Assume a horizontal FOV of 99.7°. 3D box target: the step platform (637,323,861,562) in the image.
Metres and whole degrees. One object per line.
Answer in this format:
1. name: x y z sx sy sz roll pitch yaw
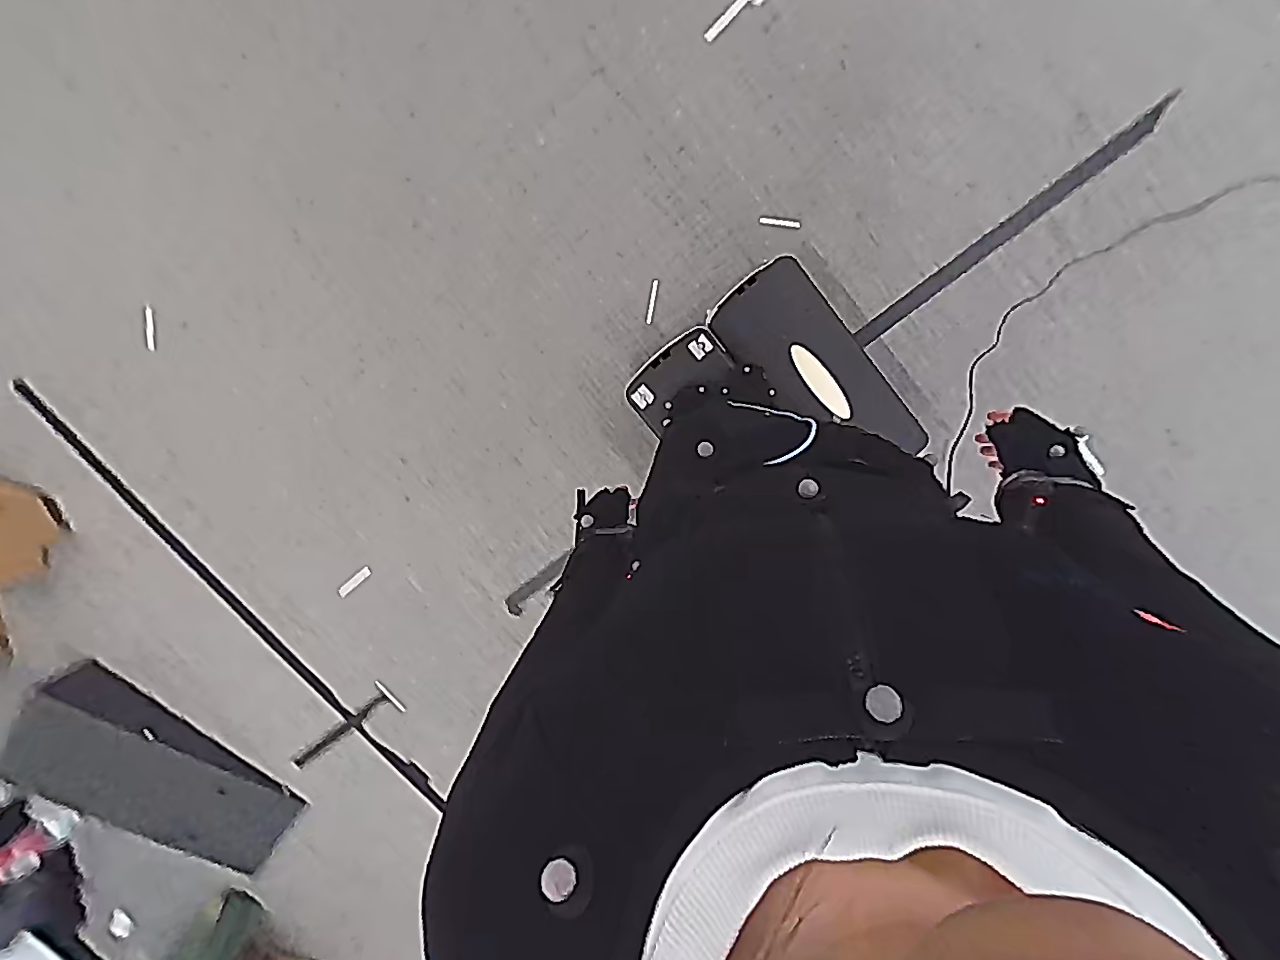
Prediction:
1. step platform: 0.300 -0.099 1.509 0.286 0.204 0.684 -40 96 13
